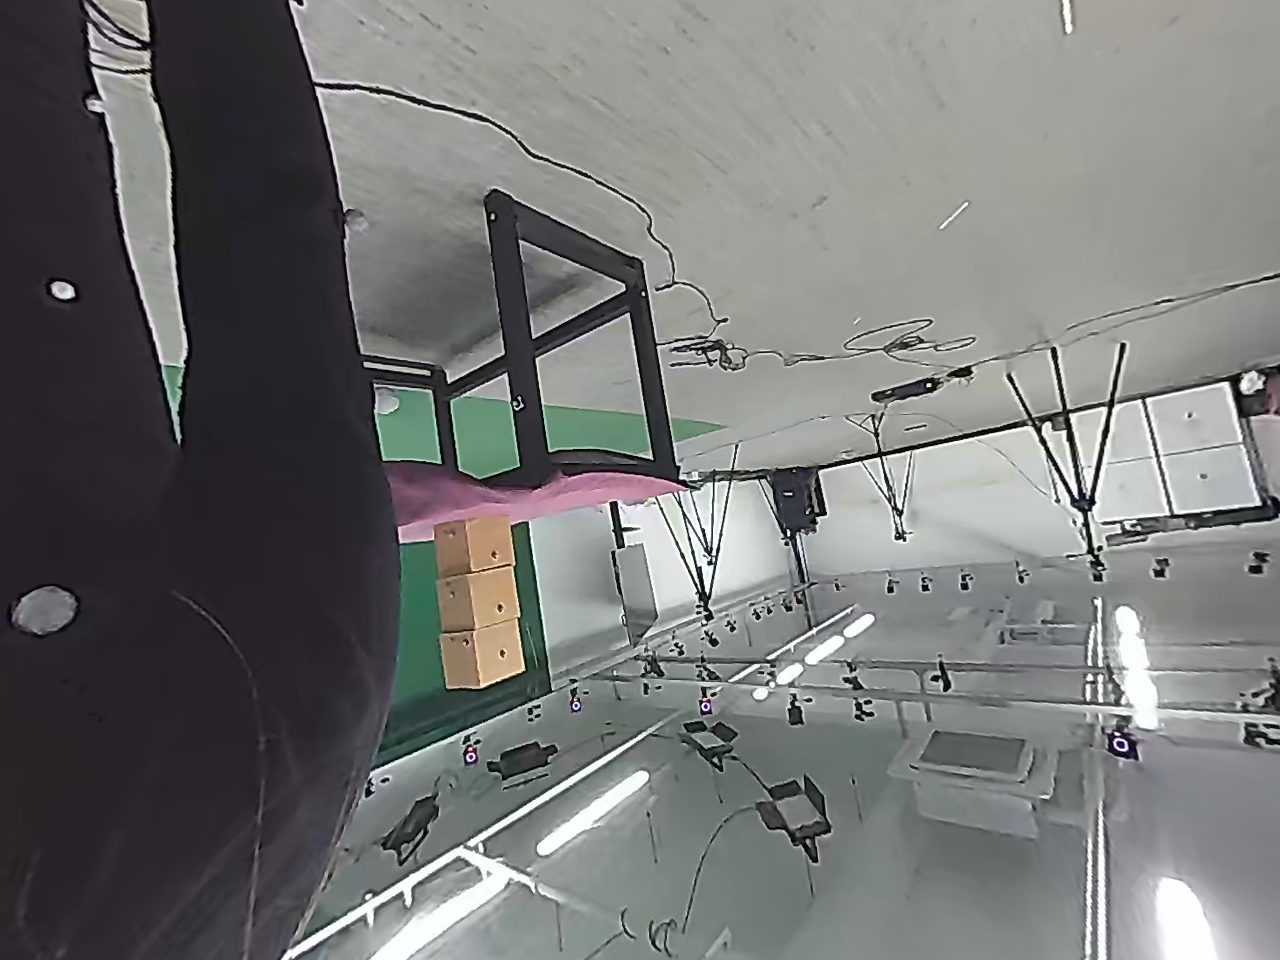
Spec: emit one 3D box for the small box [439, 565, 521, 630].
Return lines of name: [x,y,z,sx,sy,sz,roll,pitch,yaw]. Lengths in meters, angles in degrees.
small box: [-0.502,0.363,1.694,0.168,0.176,0.179,-15,172,35]

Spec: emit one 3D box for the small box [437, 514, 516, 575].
small box: [-0.523,0.204,1.727,0.168,0.176,0.179,-14,172,34]

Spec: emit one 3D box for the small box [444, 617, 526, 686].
small box: [-0.483,0.525,1.671,0.168,0.176,0.179,-14,173,34]
